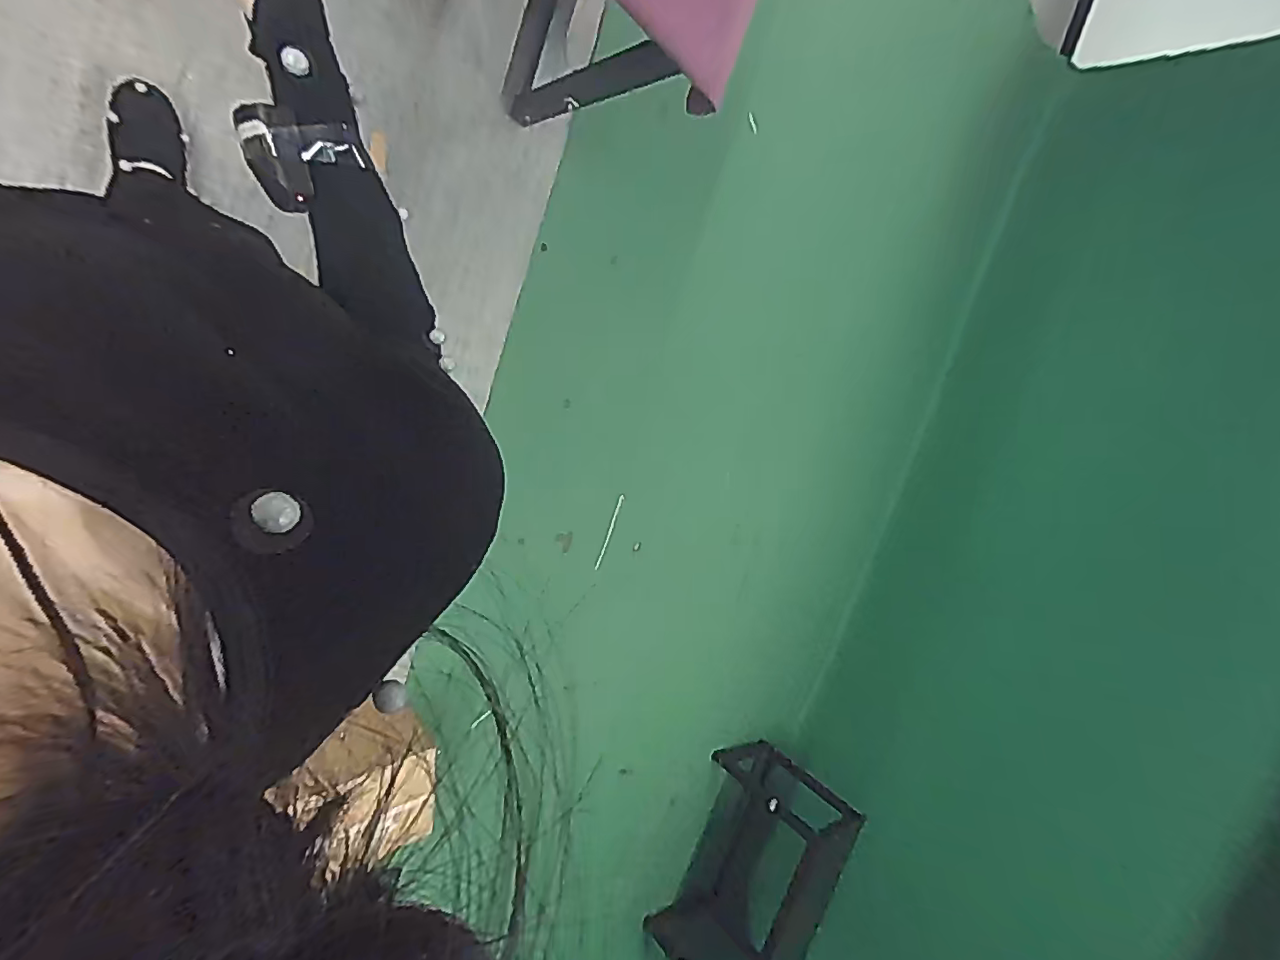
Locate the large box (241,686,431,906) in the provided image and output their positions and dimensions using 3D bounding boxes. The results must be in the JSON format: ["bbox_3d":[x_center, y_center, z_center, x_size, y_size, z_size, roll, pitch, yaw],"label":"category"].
[{"bbox_3d":[-0.854,0.854,1.532,0.408,0.320,0.320,-6,112,-42],"label":"large box"}]
